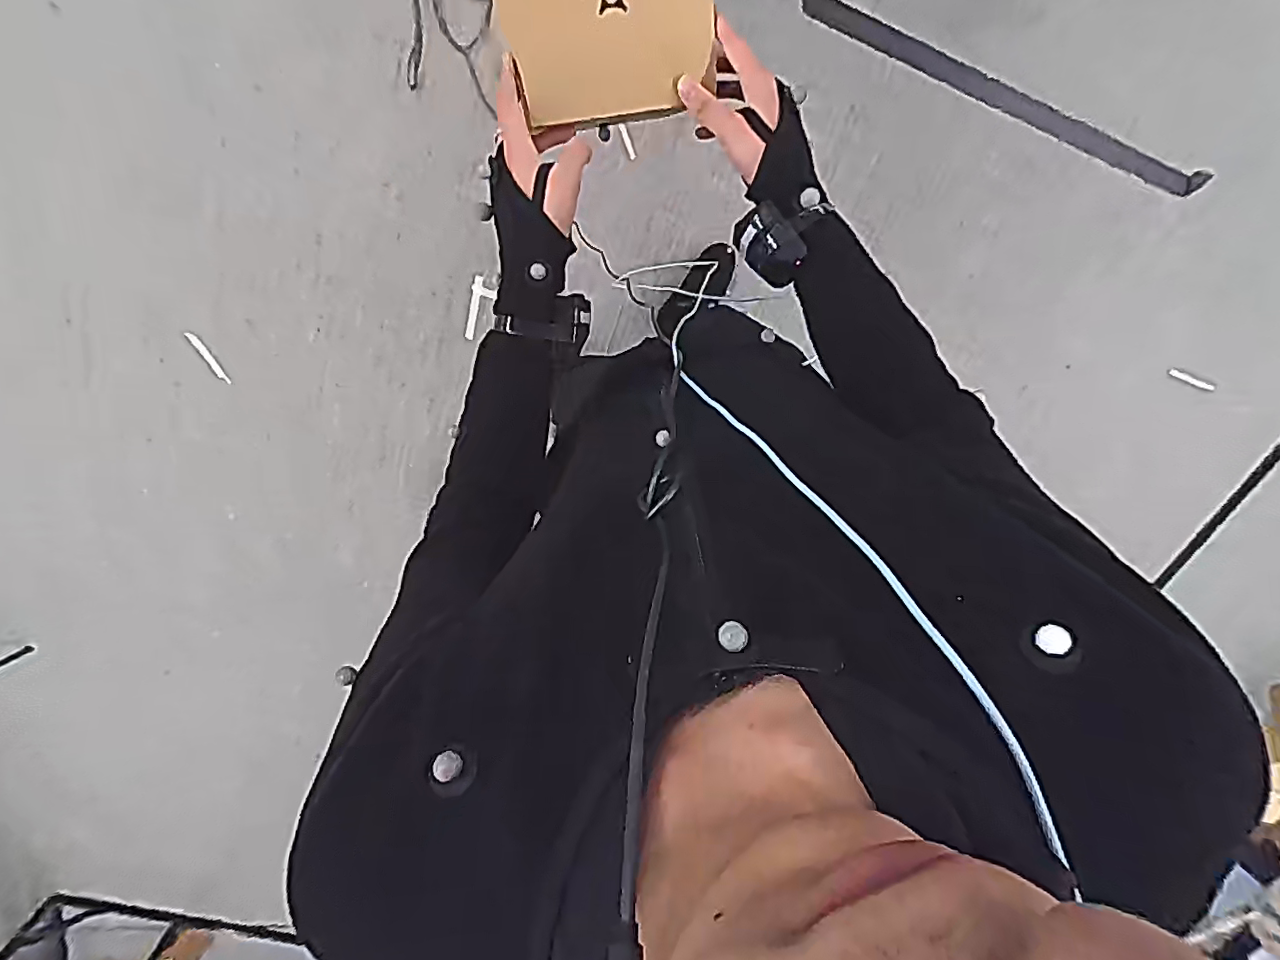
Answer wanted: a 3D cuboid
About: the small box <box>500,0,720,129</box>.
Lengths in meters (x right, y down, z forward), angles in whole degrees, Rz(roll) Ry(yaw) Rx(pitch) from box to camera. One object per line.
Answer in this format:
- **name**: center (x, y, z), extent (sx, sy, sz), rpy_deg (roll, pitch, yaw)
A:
- **small box**: center (-0.035, -0.424, 0.482), extent (0.168, 0.176, 0.179), rpy_deg (-13, 122, -8)
